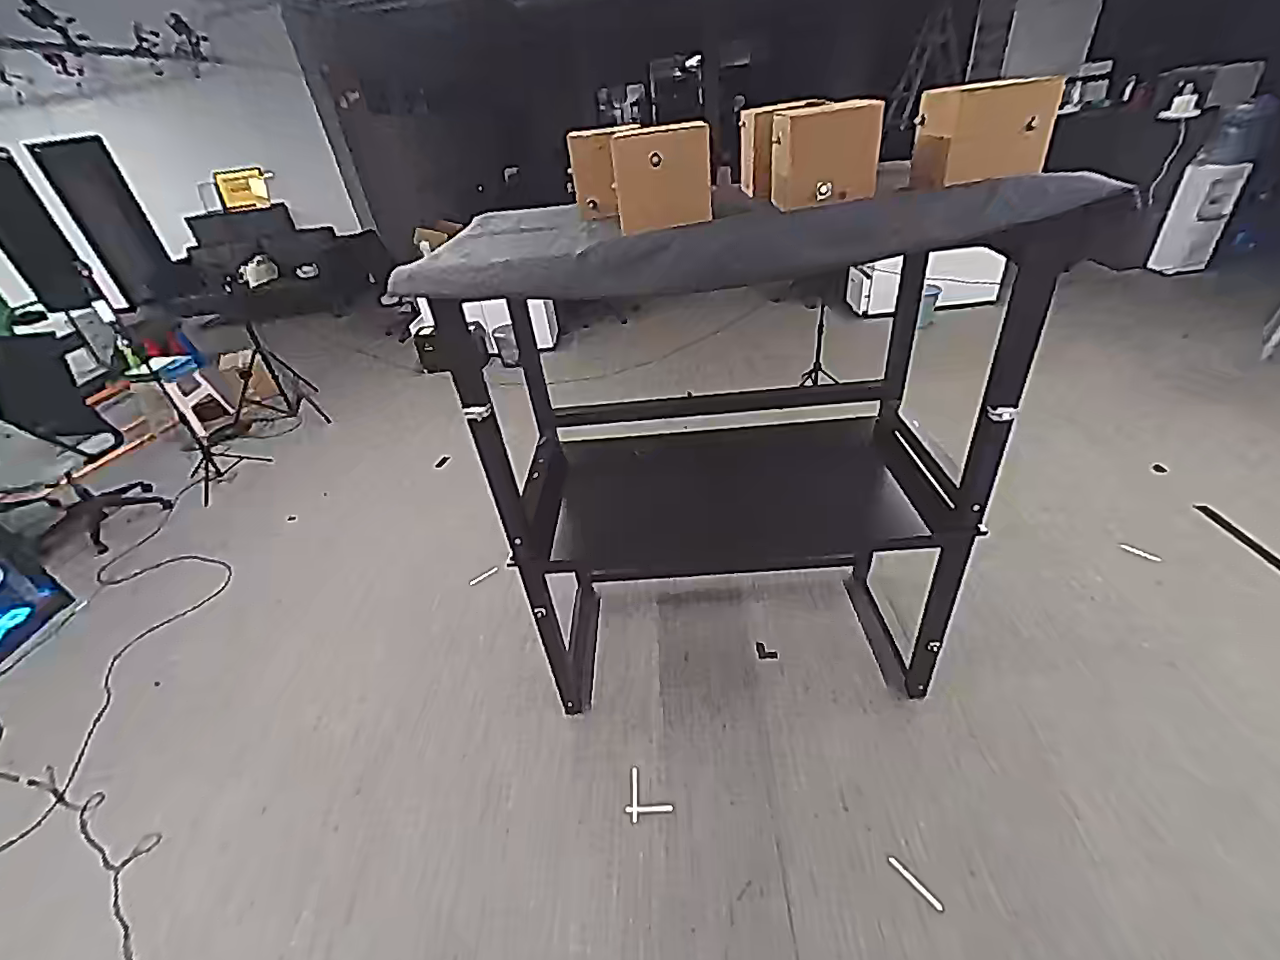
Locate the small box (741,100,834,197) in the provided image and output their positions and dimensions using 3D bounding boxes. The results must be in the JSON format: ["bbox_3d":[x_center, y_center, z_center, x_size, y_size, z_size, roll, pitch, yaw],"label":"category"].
[{"bbox_3d":[0.331,-0.765,1.247,0.179,0.176,0.168,-5,34,3],"label":"small box"}]

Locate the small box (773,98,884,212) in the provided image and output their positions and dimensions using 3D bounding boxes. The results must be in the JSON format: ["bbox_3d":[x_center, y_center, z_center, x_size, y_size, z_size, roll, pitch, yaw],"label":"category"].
[{"bbox_3d":[0.353,-0.628,1.050,0.168,0.176,0.179,-5,34,6],"label":"small box"}]

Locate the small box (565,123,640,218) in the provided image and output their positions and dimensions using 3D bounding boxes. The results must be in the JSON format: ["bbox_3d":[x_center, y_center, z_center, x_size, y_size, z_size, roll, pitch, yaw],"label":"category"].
[{"bbox_3d":[-0.074,-0.723,1.265,0.168,0.176,0.179,-7,35,1],"label":"small box"}]

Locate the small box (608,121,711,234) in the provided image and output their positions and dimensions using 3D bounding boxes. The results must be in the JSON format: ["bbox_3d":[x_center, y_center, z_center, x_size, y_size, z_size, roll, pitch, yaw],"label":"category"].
[{"bbox_3d":[0.042,-0.585,1.049,0.179,0.176,0.168,-4,35,5],"label":"small box"}]
